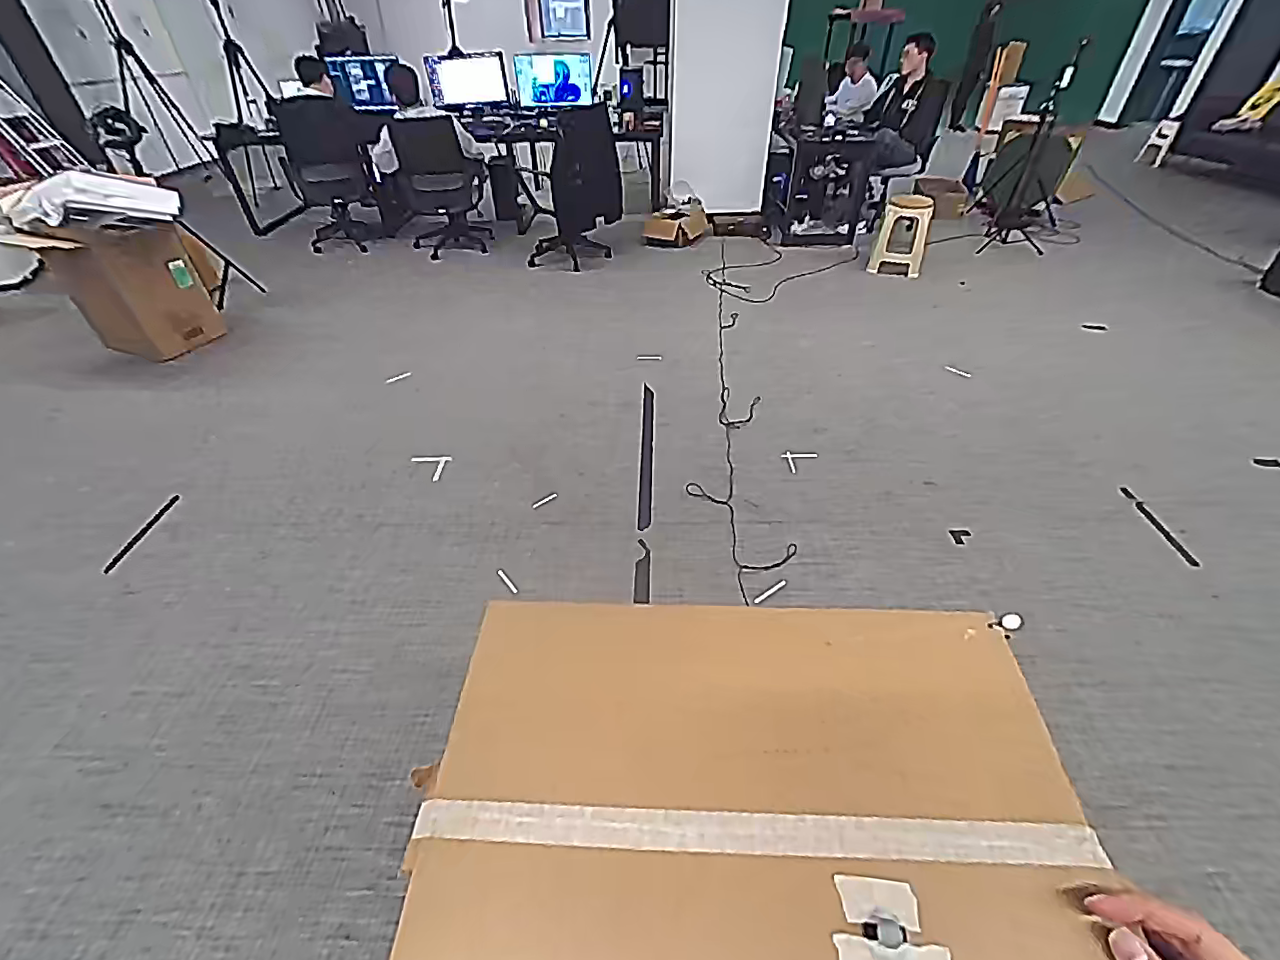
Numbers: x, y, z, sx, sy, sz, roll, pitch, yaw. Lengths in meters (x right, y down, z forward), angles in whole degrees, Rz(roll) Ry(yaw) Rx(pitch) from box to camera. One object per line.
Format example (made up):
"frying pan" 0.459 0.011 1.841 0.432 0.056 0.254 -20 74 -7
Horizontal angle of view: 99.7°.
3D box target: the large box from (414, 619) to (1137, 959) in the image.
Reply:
"large box" 0.076 0.329 0.441 0.408 0.320 0.320 1 47 3
